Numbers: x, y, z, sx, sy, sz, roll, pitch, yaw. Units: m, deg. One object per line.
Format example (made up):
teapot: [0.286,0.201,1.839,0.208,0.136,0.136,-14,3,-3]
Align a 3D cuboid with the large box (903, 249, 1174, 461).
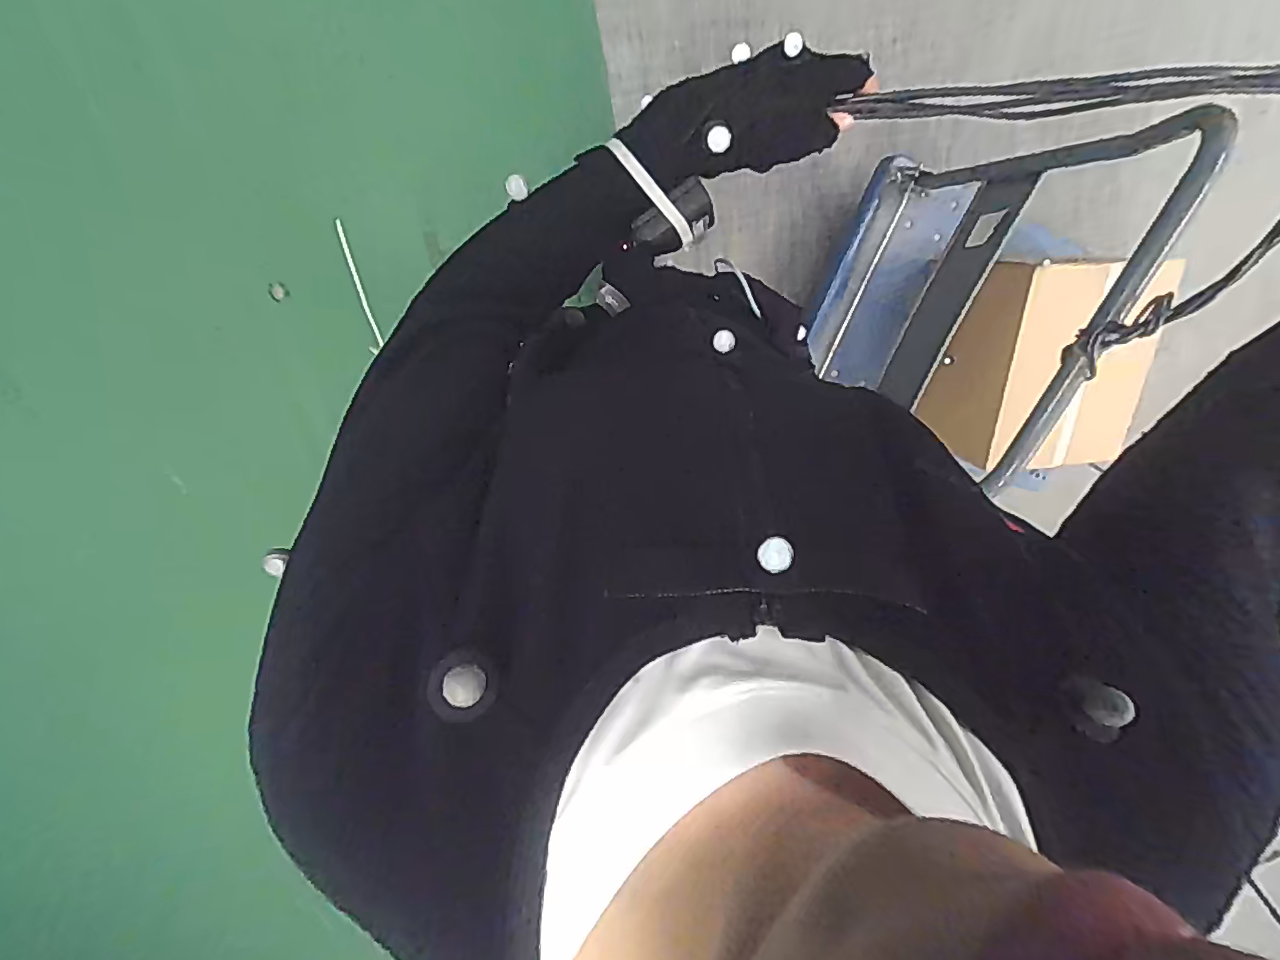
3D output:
large box: [0.837,-0.291,1.207,0.320,0.320,0.408,-5,114,-7]
